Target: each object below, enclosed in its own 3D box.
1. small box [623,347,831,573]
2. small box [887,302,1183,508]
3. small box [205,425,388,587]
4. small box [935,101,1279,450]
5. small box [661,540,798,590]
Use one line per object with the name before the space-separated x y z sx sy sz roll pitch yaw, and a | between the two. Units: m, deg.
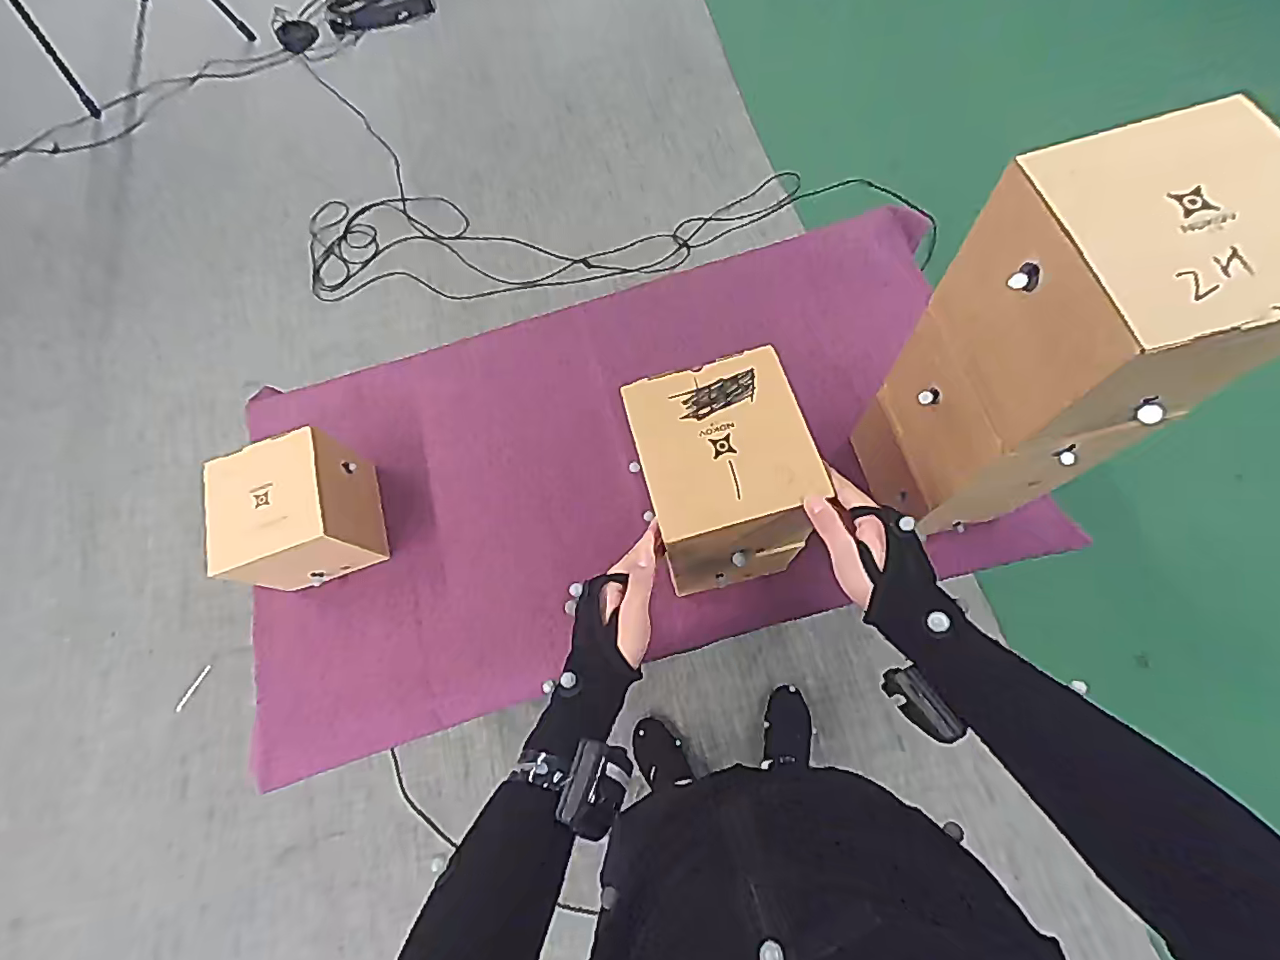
small box | 0.086 -0.012 0.600 0.168 0.176 0.179 -15 69 2
small box | 0.395 -0.089 0.586 0.168 0.176 0.179 -13 69 3
small box | -0.513 0.047 0.823 0.168 0.176 0.179 -19 70 0
small box | 0.373 -0.147 0.434 0.168 0.176 0.179 -14 70 3
small box | 0.106 0.048 0.752 0.168 0.176 0.179 -14 68 2
